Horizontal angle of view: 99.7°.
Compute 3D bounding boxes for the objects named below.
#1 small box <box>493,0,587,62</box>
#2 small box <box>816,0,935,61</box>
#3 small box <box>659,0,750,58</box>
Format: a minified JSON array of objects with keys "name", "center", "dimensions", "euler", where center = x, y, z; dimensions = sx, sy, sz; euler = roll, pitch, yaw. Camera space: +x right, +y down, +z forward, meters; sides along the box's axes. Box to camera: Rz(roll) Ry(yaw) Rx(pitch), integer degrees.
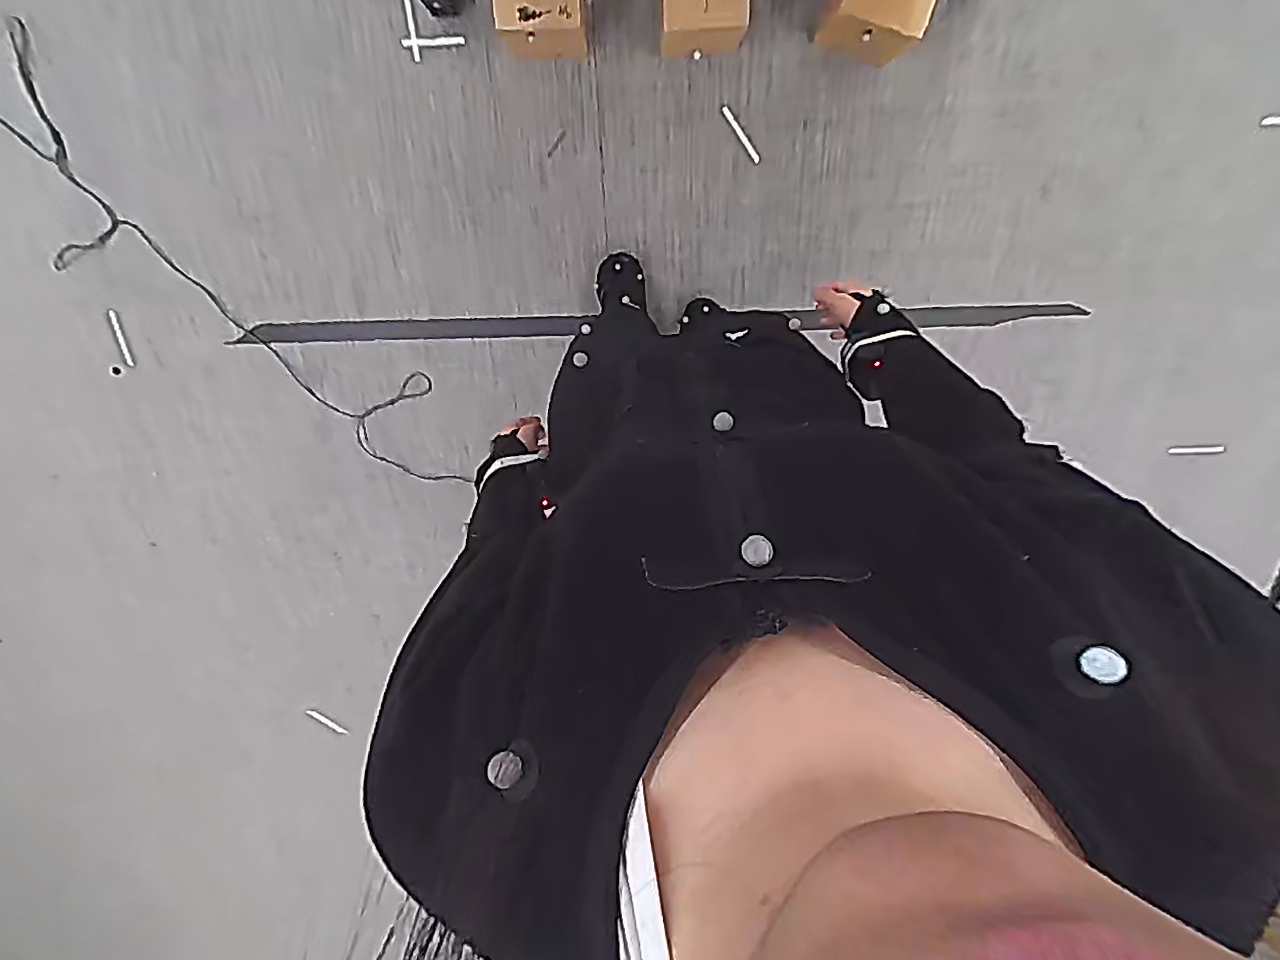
[{"name":"small box","center":[-0.194,-0.967,1.070],"dimensions":[0.168,0.176,0.179],"euler":[-1,110,0]},{"name":"small box","center":[0.480,-0.973,1.075],"dimensions":[0.179,0.176,0.168],"euler":[14,112,-5]},{"name":"small box","center":[0.123,-0.973,1.070],"dimensions":[0.168,0.176,0.179],"euler":[-3,113,1]}]
